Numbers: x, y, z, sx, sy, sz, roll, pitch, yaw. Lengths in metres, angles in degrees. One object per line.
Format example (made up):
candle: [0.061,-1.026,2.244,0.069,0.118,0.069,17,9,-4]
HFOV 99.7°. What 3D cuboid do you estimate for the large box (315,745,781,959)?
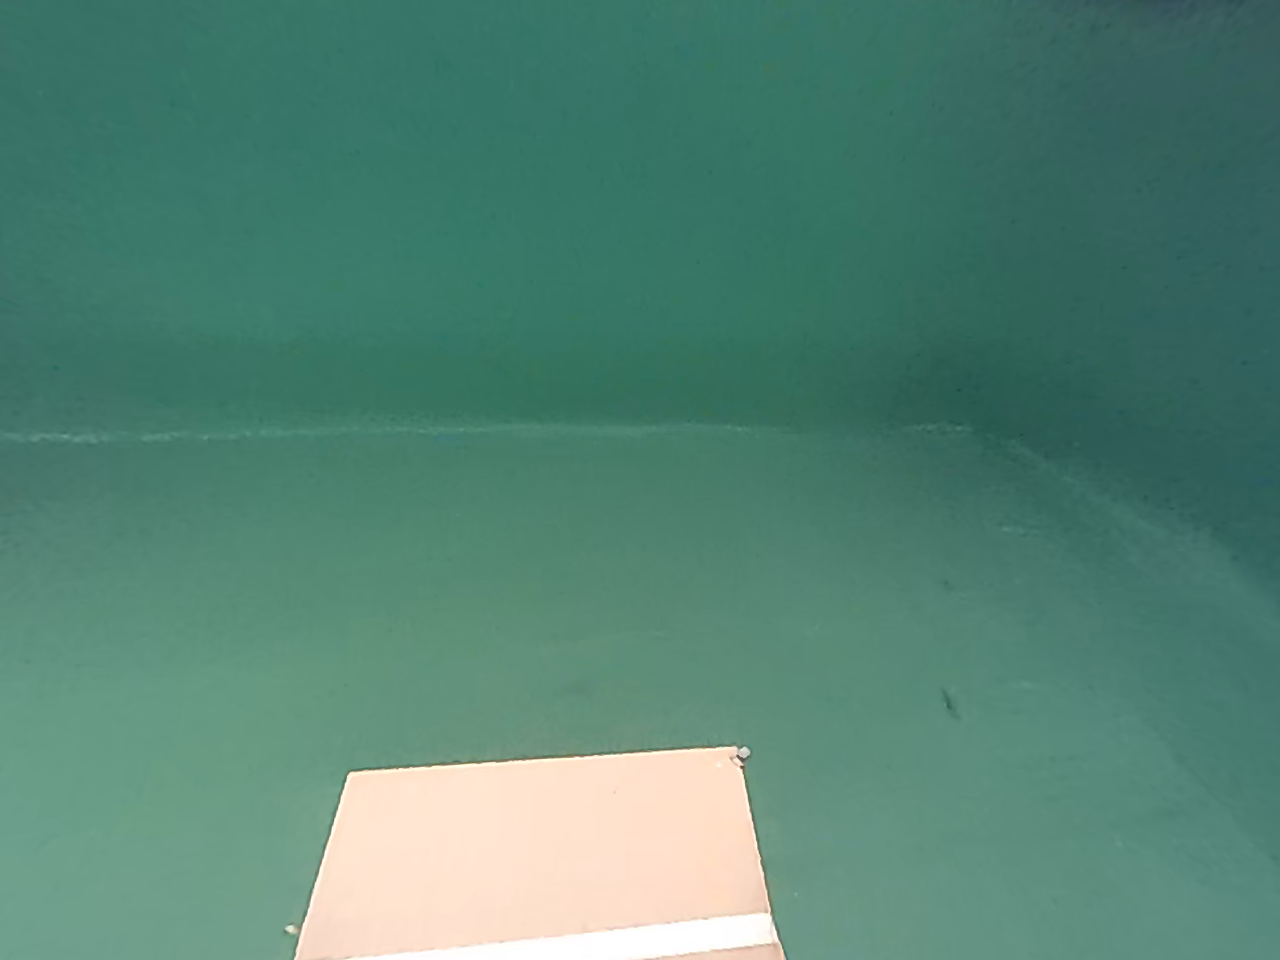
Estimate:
large box: [-0.089,0.512,0.569,0.408,0.320,0.320,0,43,-7]
